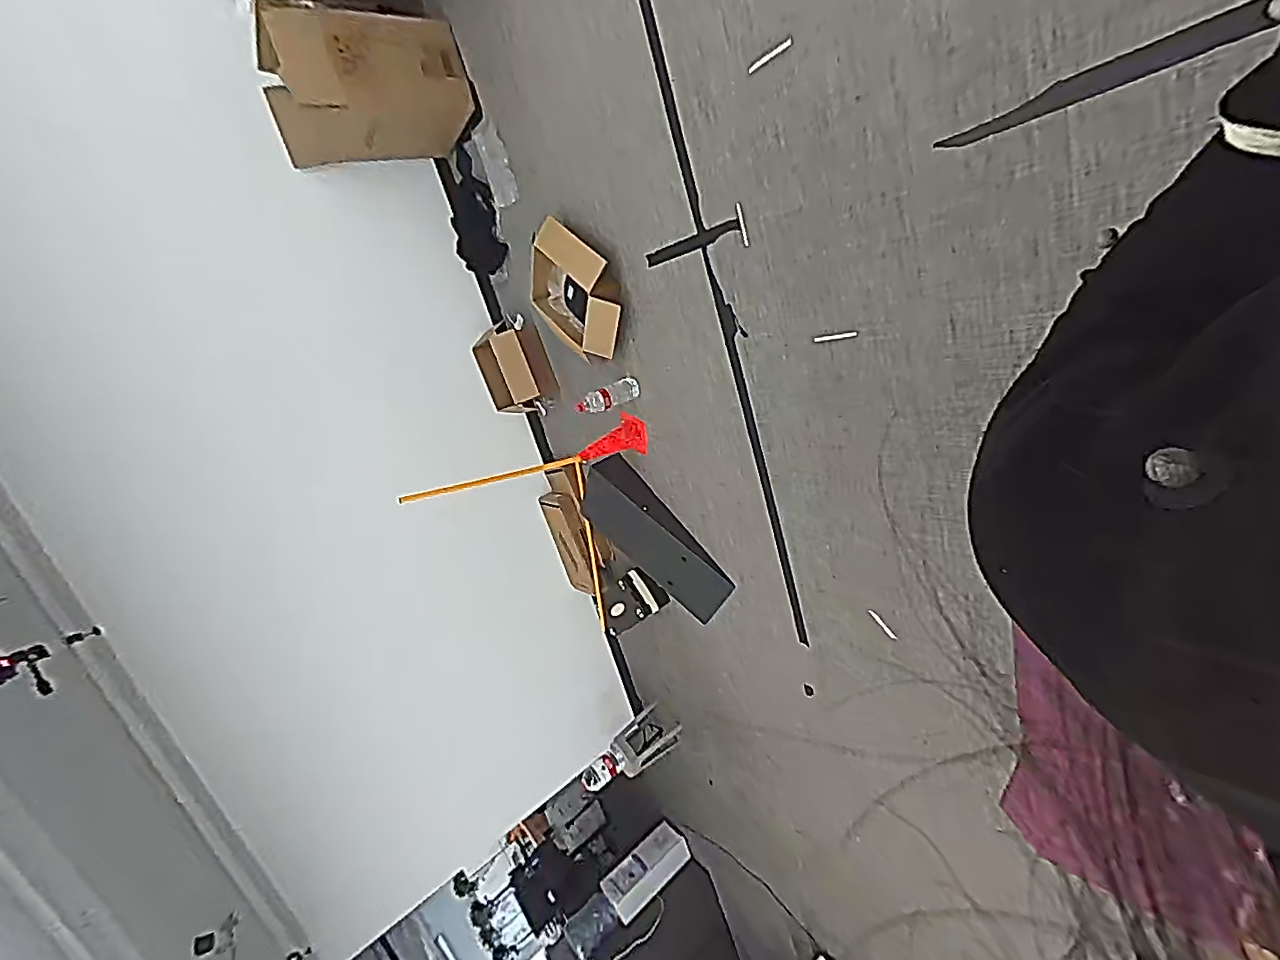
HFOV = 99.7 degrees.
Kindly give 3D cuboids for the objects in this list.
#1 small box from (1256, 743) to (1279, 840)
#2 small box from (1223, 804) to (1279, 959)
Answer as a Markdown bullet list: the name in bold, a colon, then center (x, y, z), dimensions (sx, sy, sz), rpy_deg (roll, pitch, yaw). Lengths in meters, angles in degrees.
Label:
- **small box**: center (0.743, 0.367, 0.533), dimensions (0.168, 0.176, 0.179), rpy_deg (12, 122, 53)
- **small box**: center (0.616, 0.428, 0.449), dimensions (0.168, 0.176, 0.179), rpy_deg (15, 126, 51)
